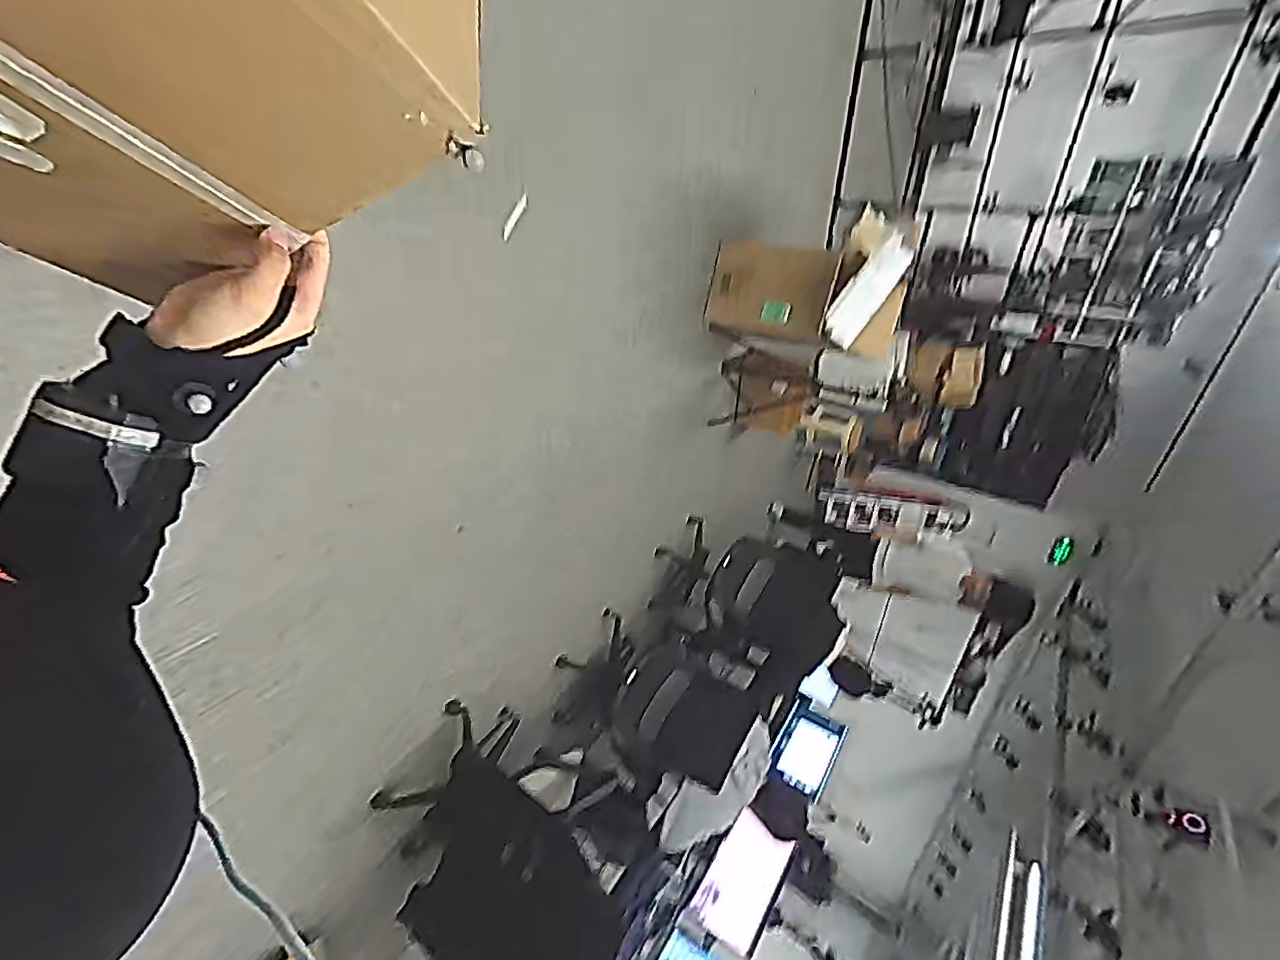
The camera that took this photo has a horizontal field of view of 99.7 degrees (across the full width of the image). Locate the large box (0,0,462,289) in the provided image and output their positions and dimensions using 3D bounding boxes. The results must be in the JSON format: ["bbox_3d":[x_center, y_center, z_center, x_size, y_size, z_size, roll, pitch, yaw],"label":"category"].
[{"bbox_3d":[-0.337,-0.361,0.230,0.408,0.320,0.320,24,58,-61],"label":"large box"}]
